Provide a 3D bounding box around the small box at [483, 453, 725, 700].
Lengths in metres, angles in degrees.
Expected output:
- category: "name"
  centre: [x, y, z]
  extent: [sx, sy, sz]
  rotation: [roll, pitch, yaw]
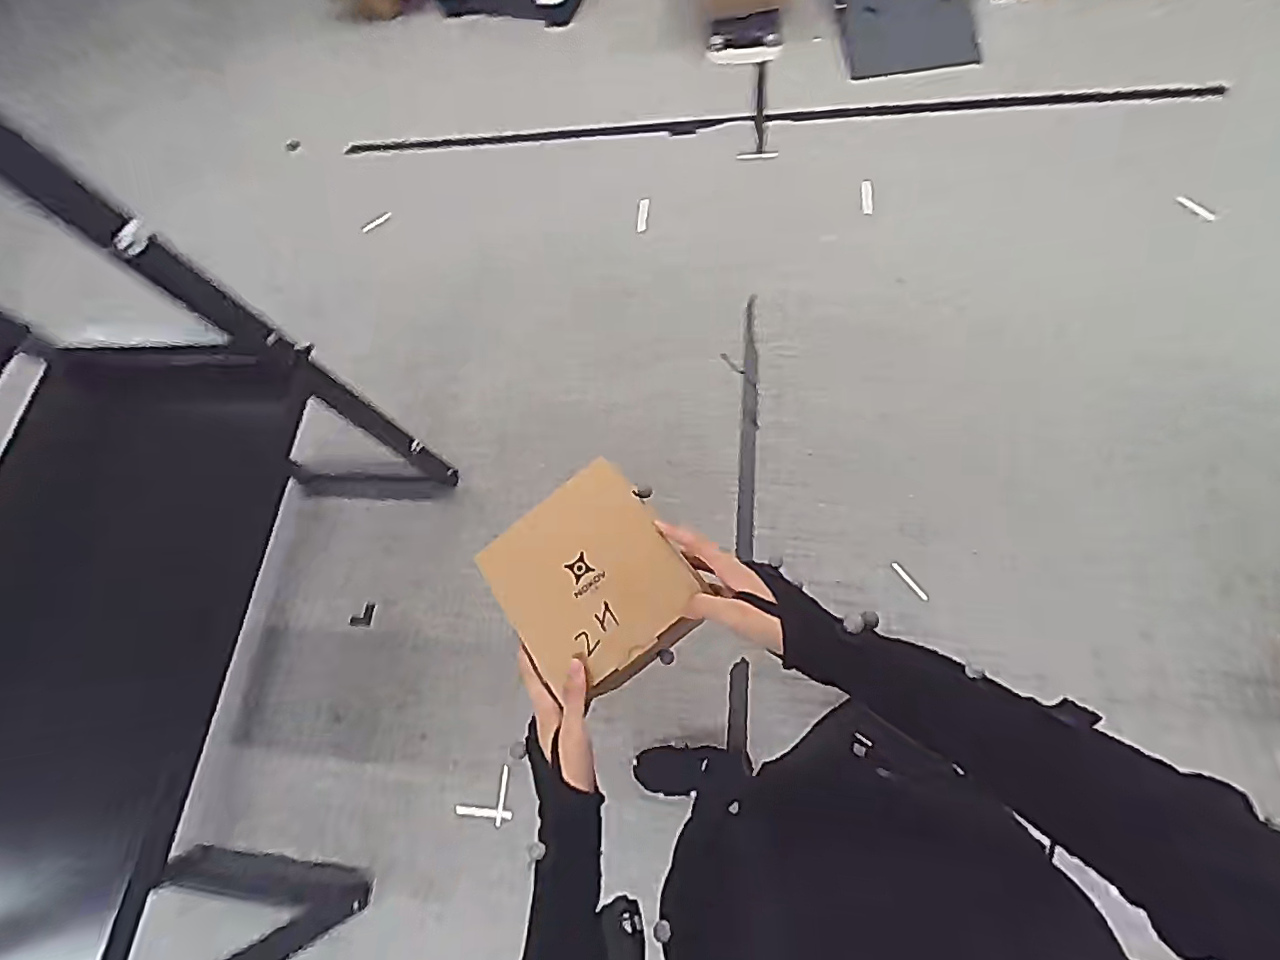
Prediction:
- category: "small box"
  centre: [-0.028, 0.105, 0.578]
  extent: [0.168, 0.176, 0.179]
  rotation: [-38, 70, 2]
